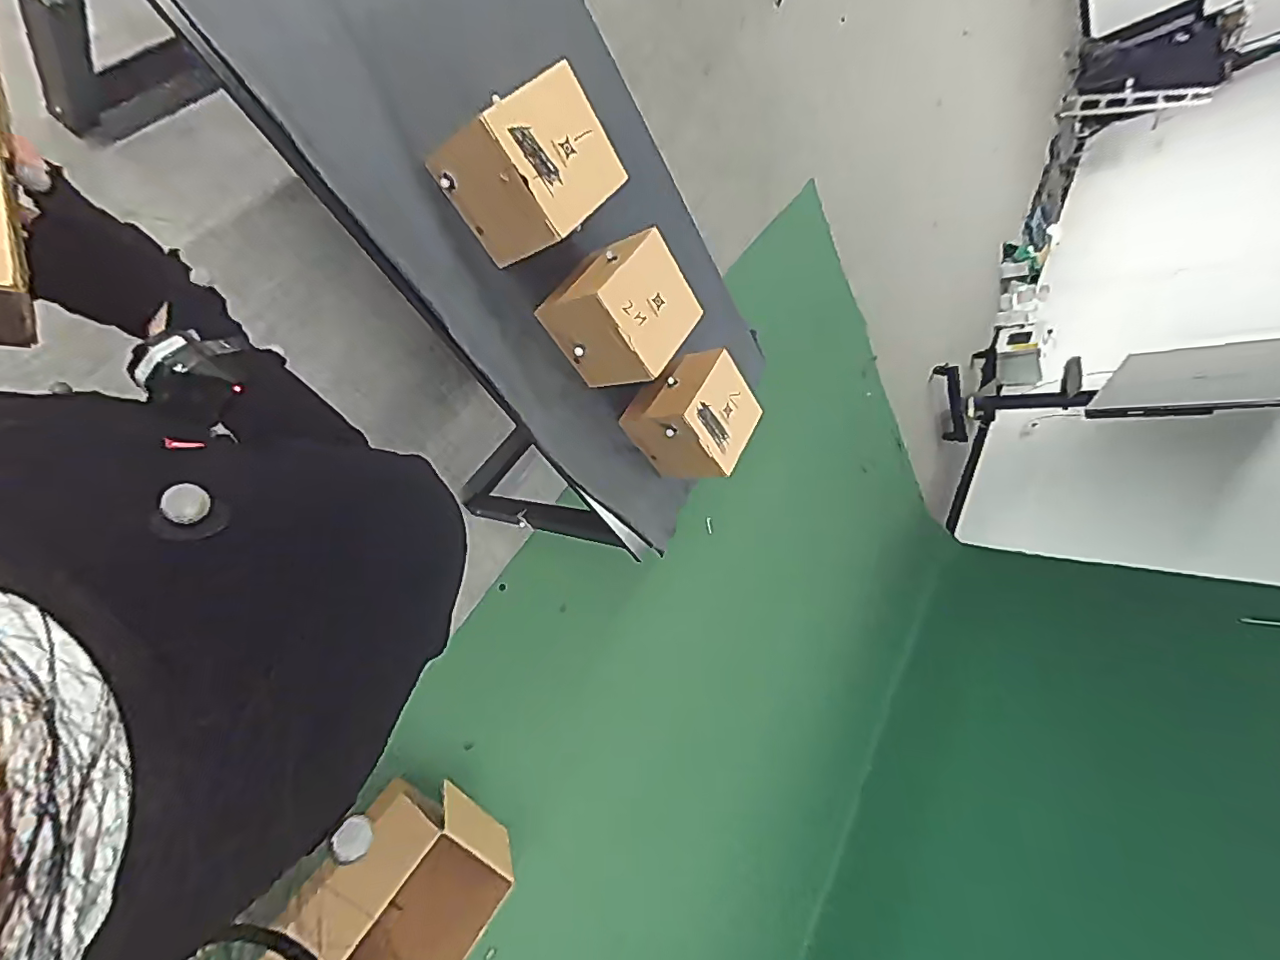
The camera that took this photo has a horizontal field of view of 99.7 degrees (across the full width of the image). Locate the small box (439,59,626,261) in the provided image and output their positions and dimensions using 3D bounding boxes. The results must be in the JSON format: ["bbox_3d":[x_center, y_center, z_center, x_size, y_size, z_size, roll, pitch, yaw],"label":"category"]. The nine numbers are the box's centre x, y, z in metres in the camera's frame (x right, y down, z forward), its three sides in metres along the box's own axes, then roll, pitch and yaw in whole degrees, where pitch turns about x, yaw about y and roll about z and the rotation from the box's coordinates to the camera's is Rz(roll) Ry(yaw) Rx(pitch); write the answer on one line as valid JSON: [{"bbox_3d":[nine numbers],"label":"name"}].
[{"bbox_3d":[-0.160,-0.444,0.776,0.179,0.176,0.168,-55,127,-27],"label":"small box"}]

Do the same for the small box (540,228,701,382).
[{"bbox_3d":[-0.033,-0.284,0.907,0.168,0.176,0.179,51,60,-33],"label":"small box"}]

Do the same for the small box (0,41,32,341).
[{"bbox_3d":[-0.460,-0.184,0.290,0.168,0.176,0.179,-8,96,-47],"label":"small box"}]
